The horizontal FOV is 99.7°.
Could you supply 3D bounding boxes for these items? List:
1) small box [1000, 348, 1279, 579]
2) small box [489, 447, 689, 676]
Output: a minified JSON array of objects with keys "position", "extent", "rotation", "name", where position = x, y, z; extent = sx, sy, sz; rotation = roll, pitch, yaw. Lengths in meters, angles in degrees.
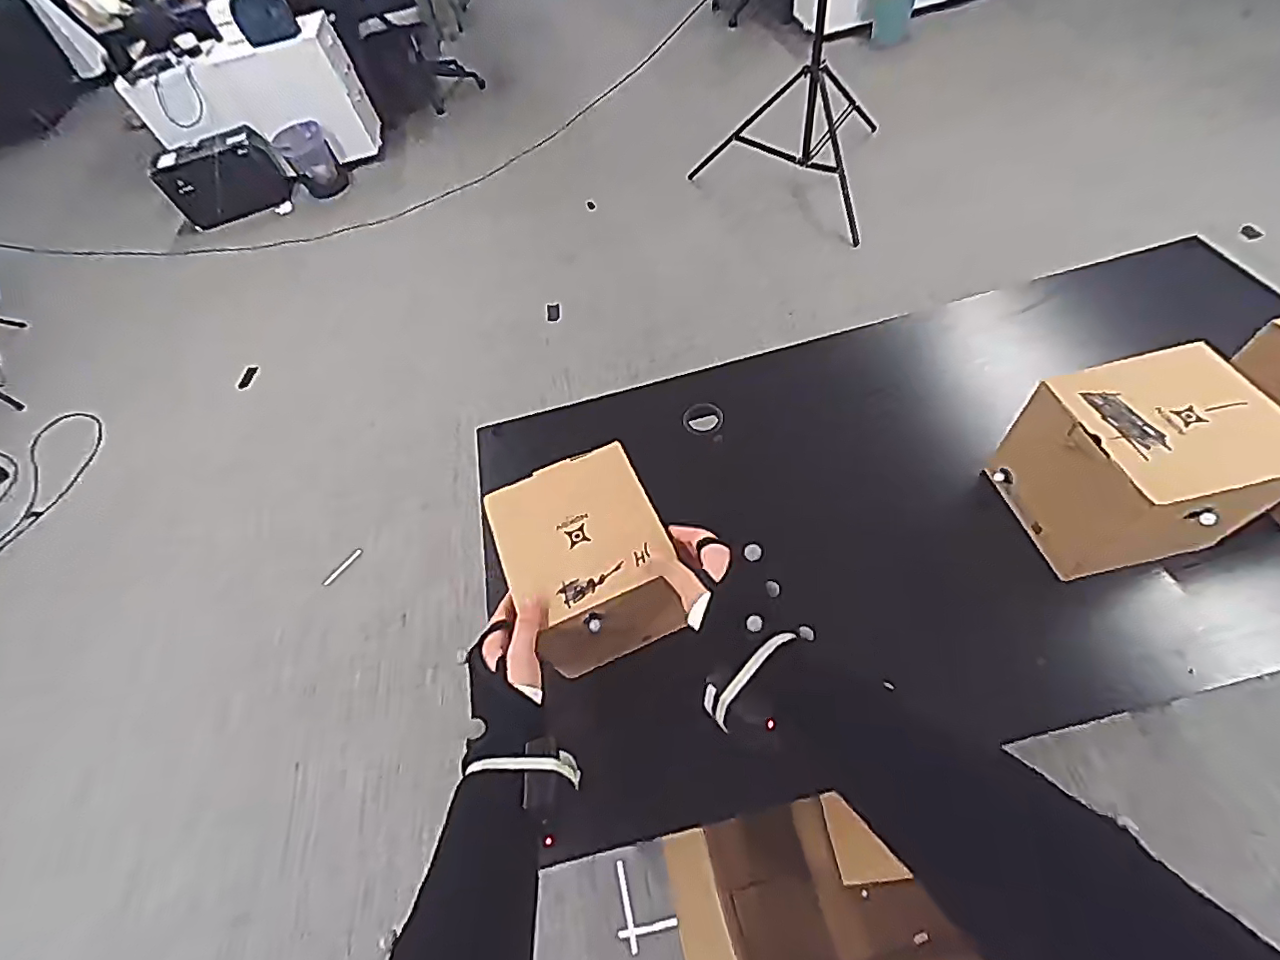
[{"position":[0.533,-0.010,0.588],"extent":[0.179,0.176,0.168],"rotation":[-13,55,1],"name":"small box"},{"position":[-0.053,0.098,0.624],"extent":[0.168,0.176,0.179],"rotation":[-23,57,-5],"name":"small box"}]
